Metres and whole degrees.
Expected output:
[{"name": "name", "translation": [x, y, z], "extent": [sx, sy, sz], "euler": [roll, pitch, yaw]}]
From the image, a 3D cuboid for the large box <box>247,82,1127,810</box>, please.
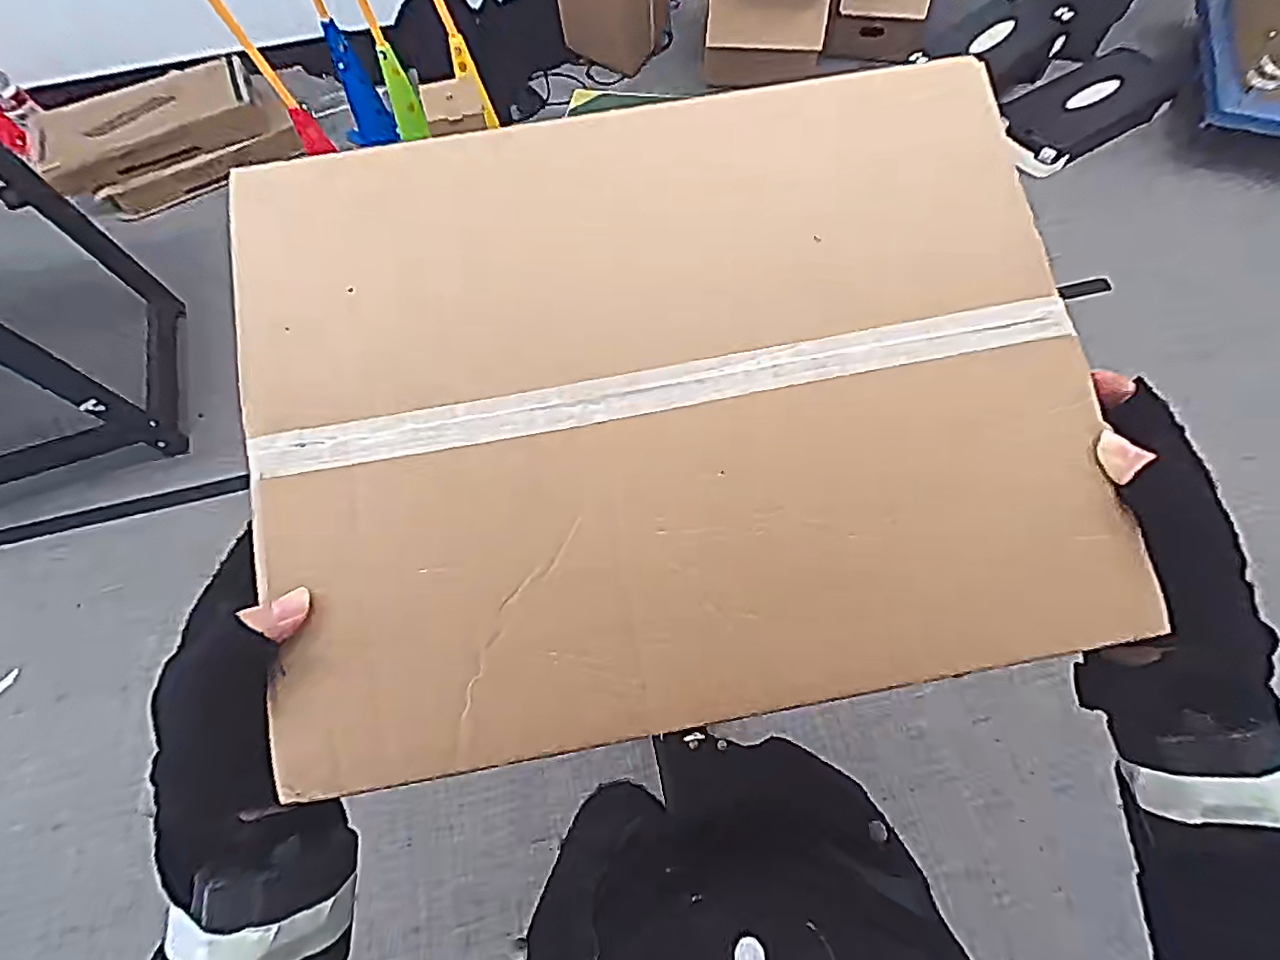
[{"name": "large box", "translation": [0.014, -0.015, 0.420], "extent": [0.408, 0.320, 0.320], "euler": [-11, 80, -2]}]
